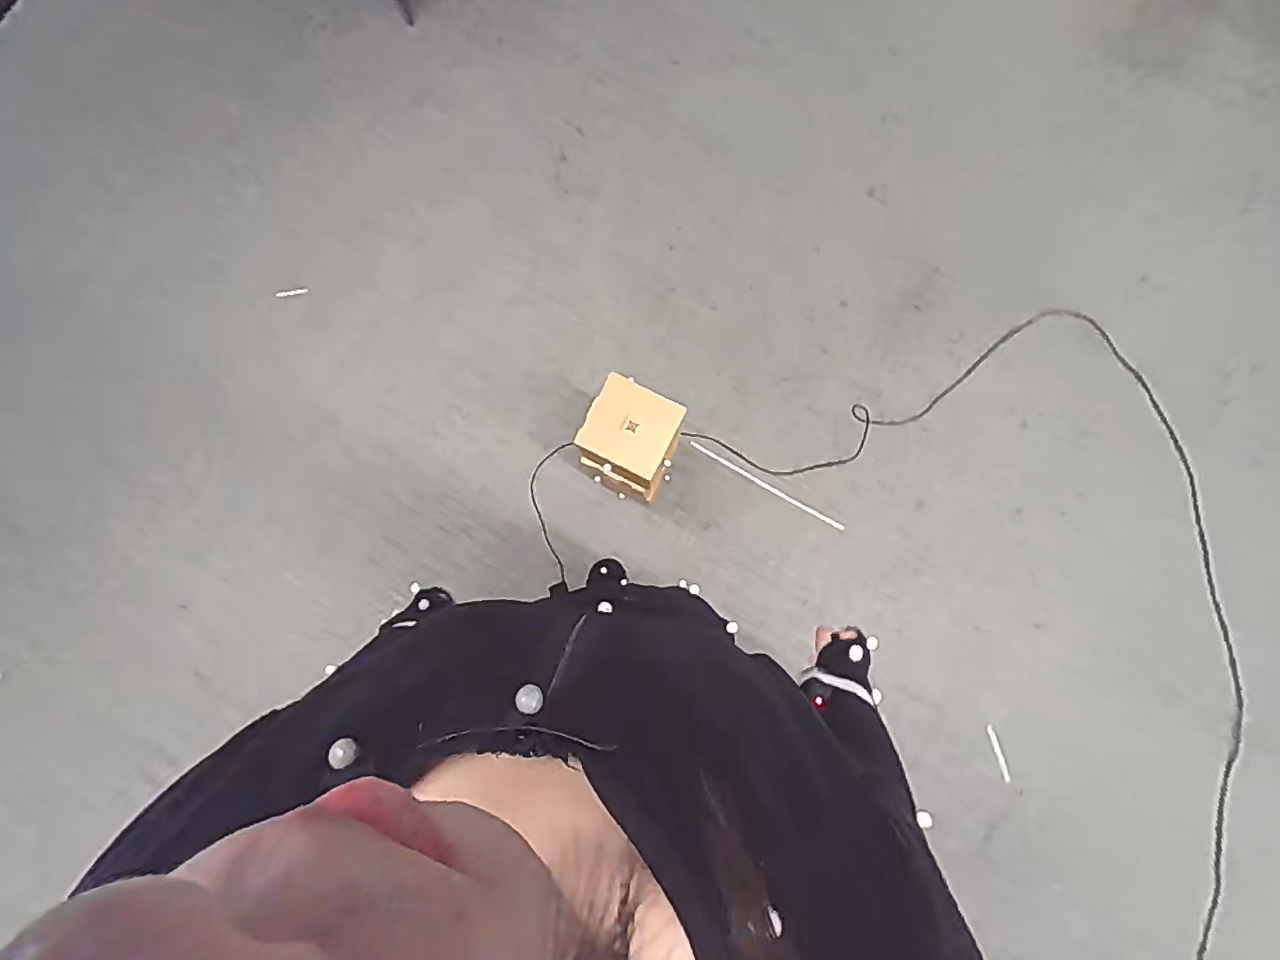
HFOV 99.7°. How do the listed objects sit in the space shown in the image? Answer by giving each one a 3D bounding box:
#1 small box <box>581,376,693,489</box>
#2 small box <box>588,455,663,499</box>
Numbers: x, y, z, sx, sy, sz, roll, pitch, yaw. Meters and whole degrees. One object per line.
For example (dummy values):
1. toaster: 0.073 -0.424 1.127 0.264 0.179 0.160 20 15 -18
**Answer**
1. small box: 0.000 -0.092 1.159 0.179 0.176 0.168 28 84 8
2. small box: -0.003 -0.068 1.321 0.168 0.176 0.179 27 83 7
